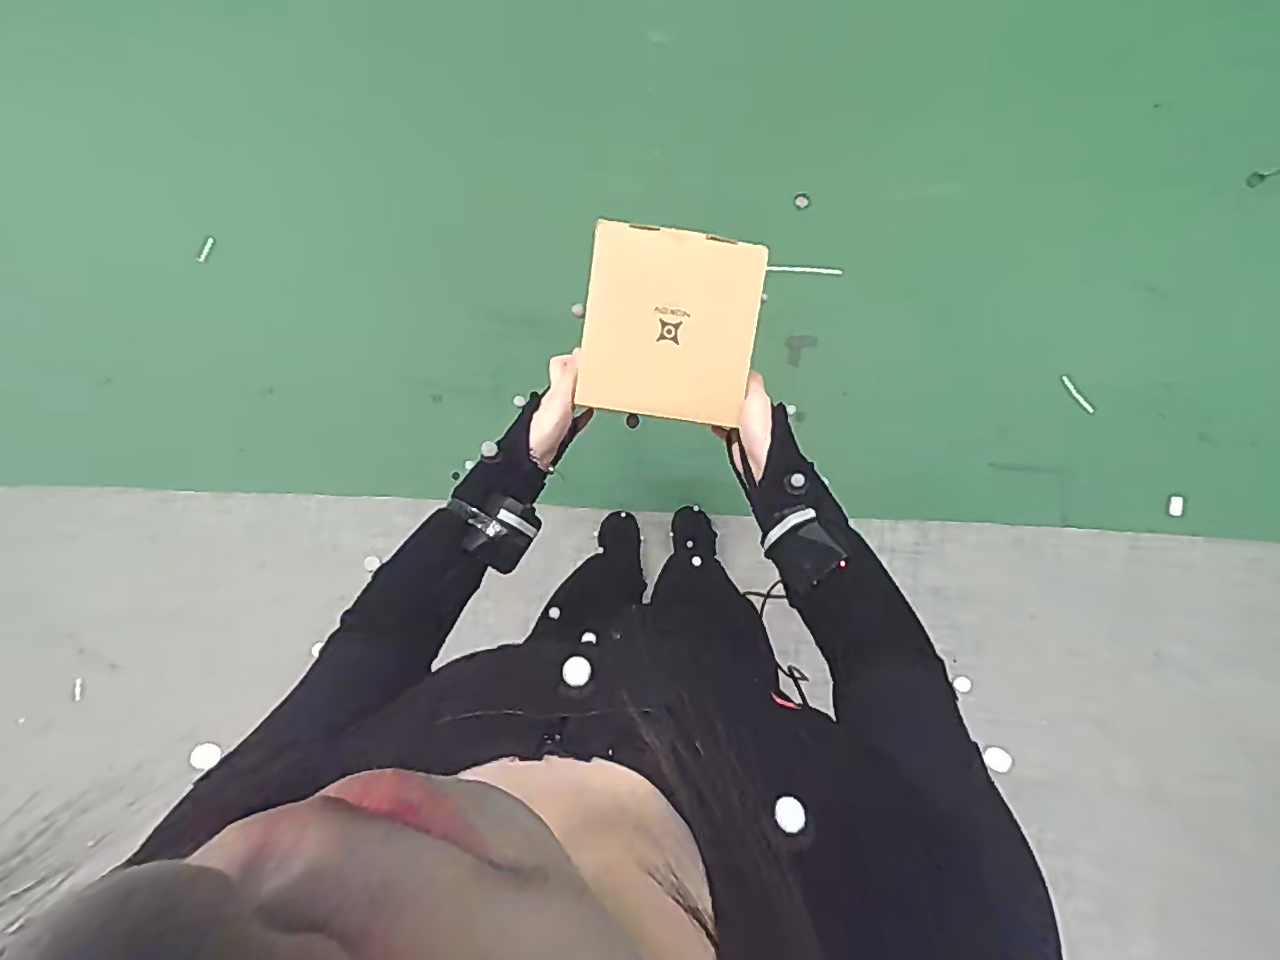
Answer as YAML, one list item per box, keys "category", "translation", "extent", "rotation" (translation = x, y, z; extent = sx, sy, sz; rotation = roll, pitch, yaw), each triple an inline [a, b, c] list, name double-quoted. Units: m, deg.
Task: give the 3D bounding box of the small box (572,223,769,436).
- category: "small box"
  translation: [0.027, -0.149, 0.589]
  extent: [0.168, 0.176, 0.179]
  rotation: [9, 96, -3]
